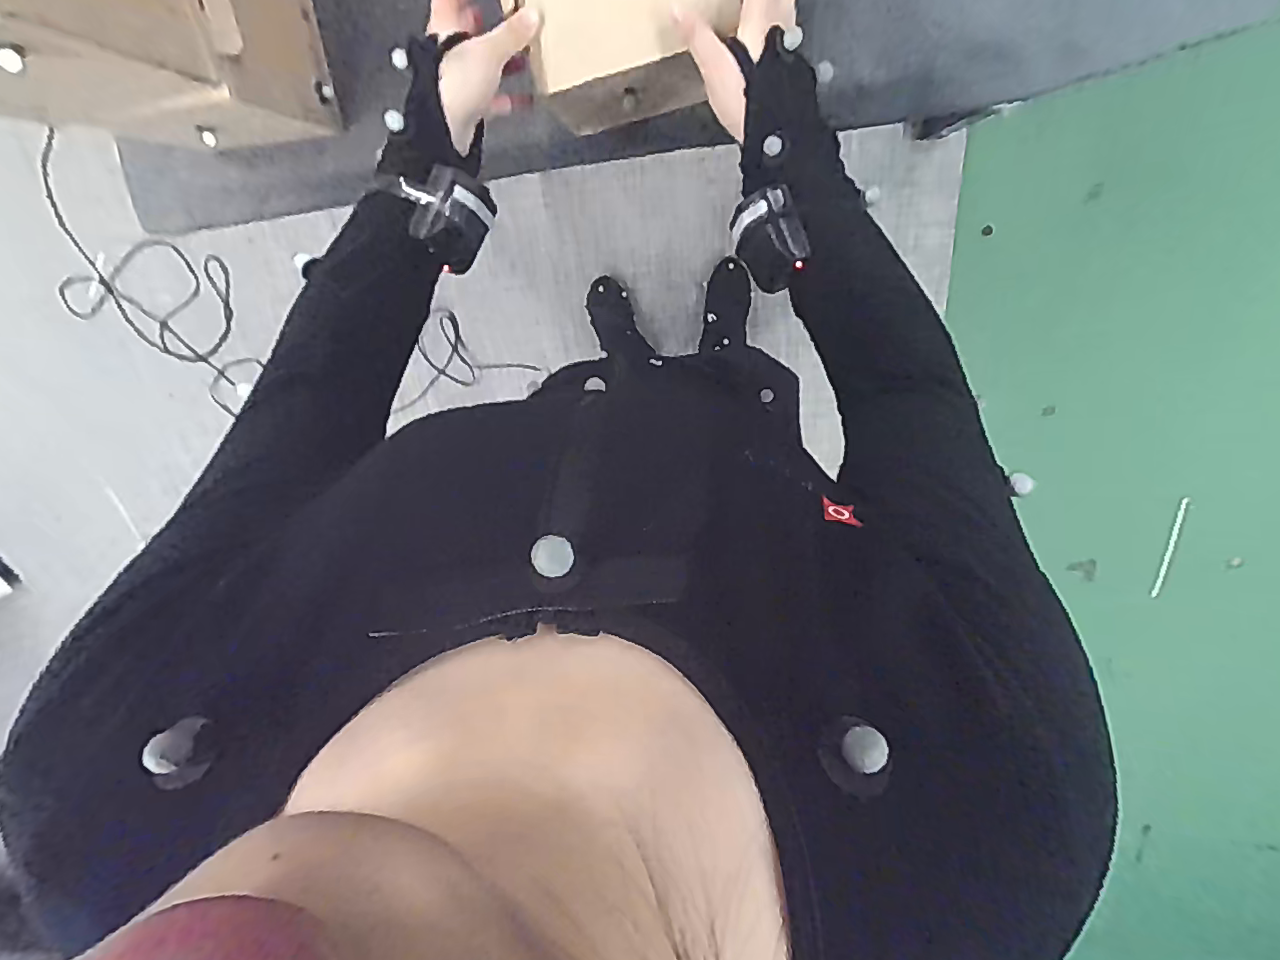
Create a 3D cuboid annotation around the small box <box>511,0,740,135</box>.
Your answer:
[{"bbox_3d":[-0.010,-0.431,0.480,0.179,0.176,0.168,-9,112,12],"label":"small box"}]

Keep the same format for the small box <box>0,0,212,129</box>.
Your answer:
[{"bbox_3d":[-0.468,-0.368,0.378,0.179,0.176,0.168,-7,113,9],"label":"small box"}]

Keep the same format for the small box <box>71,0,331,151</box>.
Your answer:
[{"bbox_3d":[-0.437,-0.432,0.525,0.179,0.176,0.168,-2,113,8],"label":"small box"}]
